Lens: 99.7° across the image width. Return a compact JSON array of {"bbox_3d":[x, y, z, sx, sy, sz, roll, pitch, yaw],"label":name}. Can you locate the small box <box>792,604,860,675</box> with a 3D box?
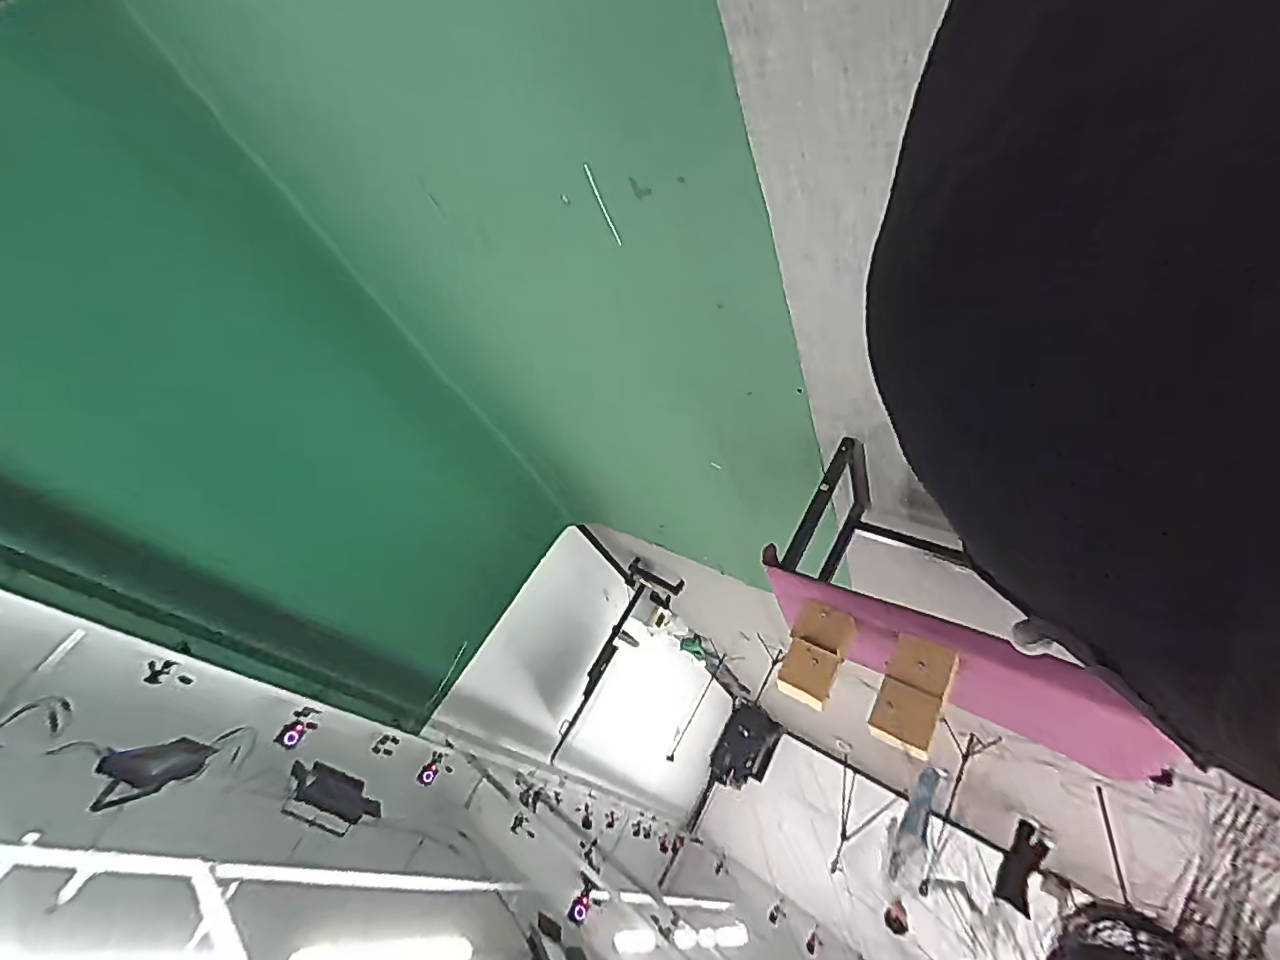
[{"bbox_3d":[0.689,0.580,1.991,0.179,0.176,0.168,17,155,37],"label":"small box"}]

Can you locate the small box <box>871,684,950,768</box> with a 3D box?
[{"bbox_3d":[0.847,0.763,1.695,0.179,0.176,0.168,17,155,36],"label":"small box"}]

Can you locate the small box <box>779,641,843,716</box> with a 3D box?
[{"bbox_3d":[0.608,0.699,1.910,0.168,0.176,0.179,21,155,30],"label":"small box"}]
